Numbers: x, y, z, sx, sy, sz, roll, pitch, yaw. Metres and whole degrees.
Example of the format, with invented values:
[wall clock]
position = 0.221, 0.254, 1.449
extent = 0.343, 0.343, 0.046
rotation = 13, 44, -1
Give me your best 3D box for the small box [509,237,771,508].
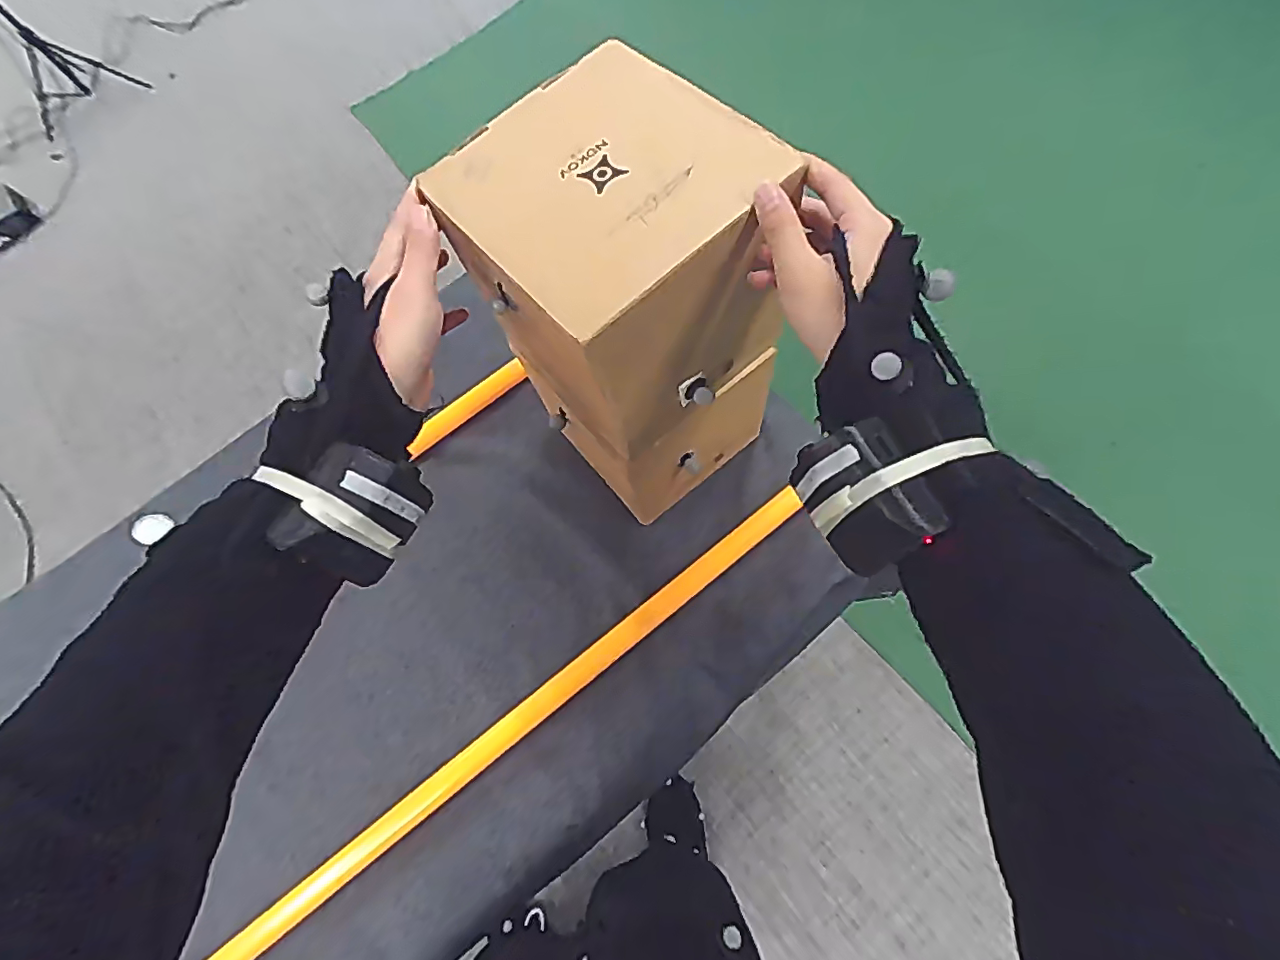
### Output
[small box]
position = 0.007, -0.091, 0.541
extent = 0.168, 0.176, 0.179
rotation = -39, 69, -7
